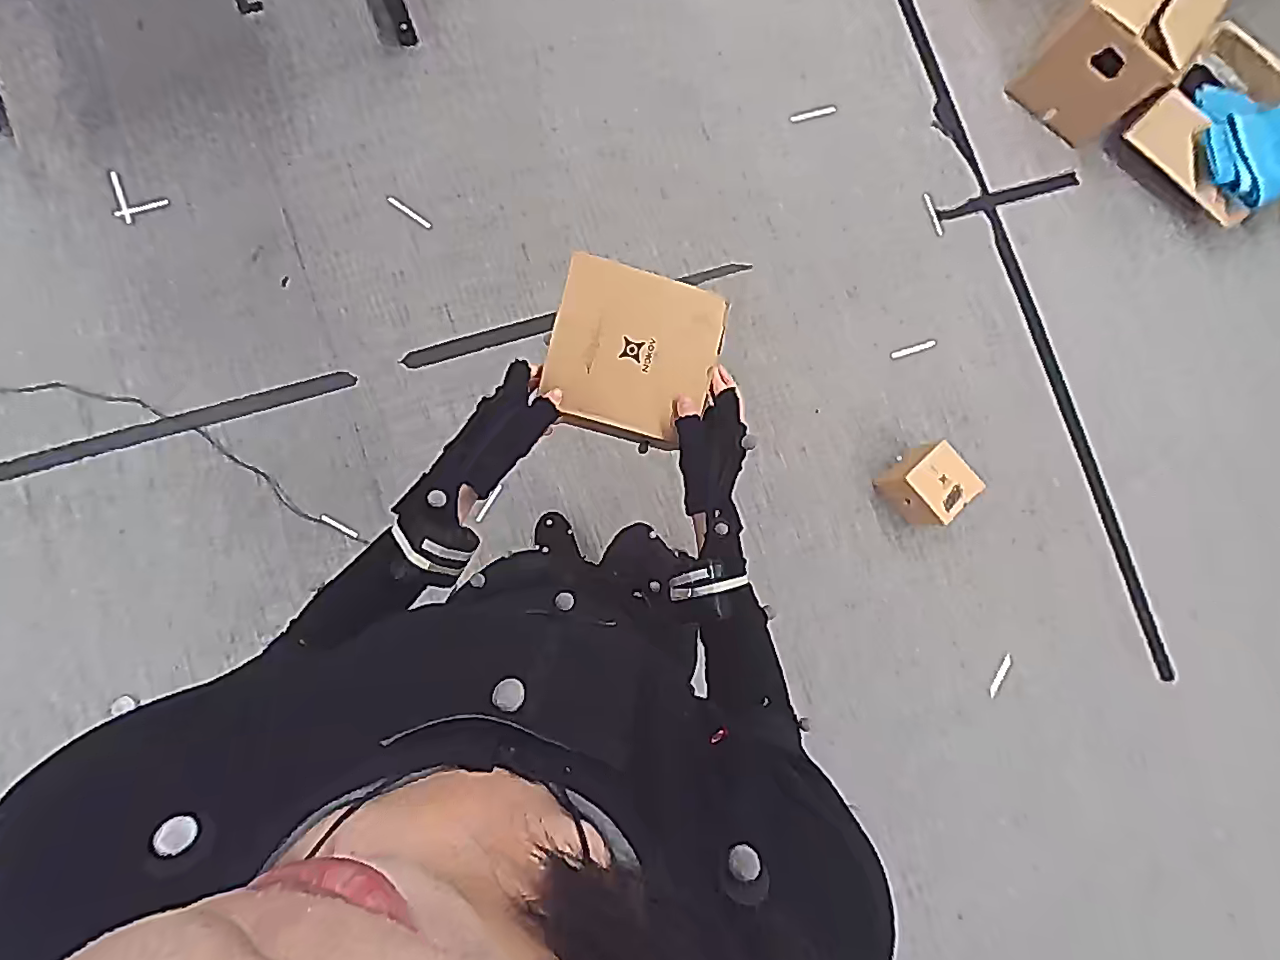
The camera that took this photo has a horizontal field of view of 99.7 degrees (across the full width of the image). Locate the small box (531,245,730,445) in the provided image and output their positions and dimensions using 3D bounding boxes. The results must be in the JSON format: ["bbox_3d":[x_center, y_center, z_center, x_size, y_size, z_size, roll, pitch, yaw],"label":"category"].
[{"bbox_3d":[-0.017,-0.138,0.628,0.179,0.176,0.168,13,89,-7],"label":"small box"}]

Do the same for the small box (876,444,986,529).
[{"bbox_3d":[0.822,0.022,1.542,0.168,0.176,0.179,-41,89,-8],"label":"small box"}]
